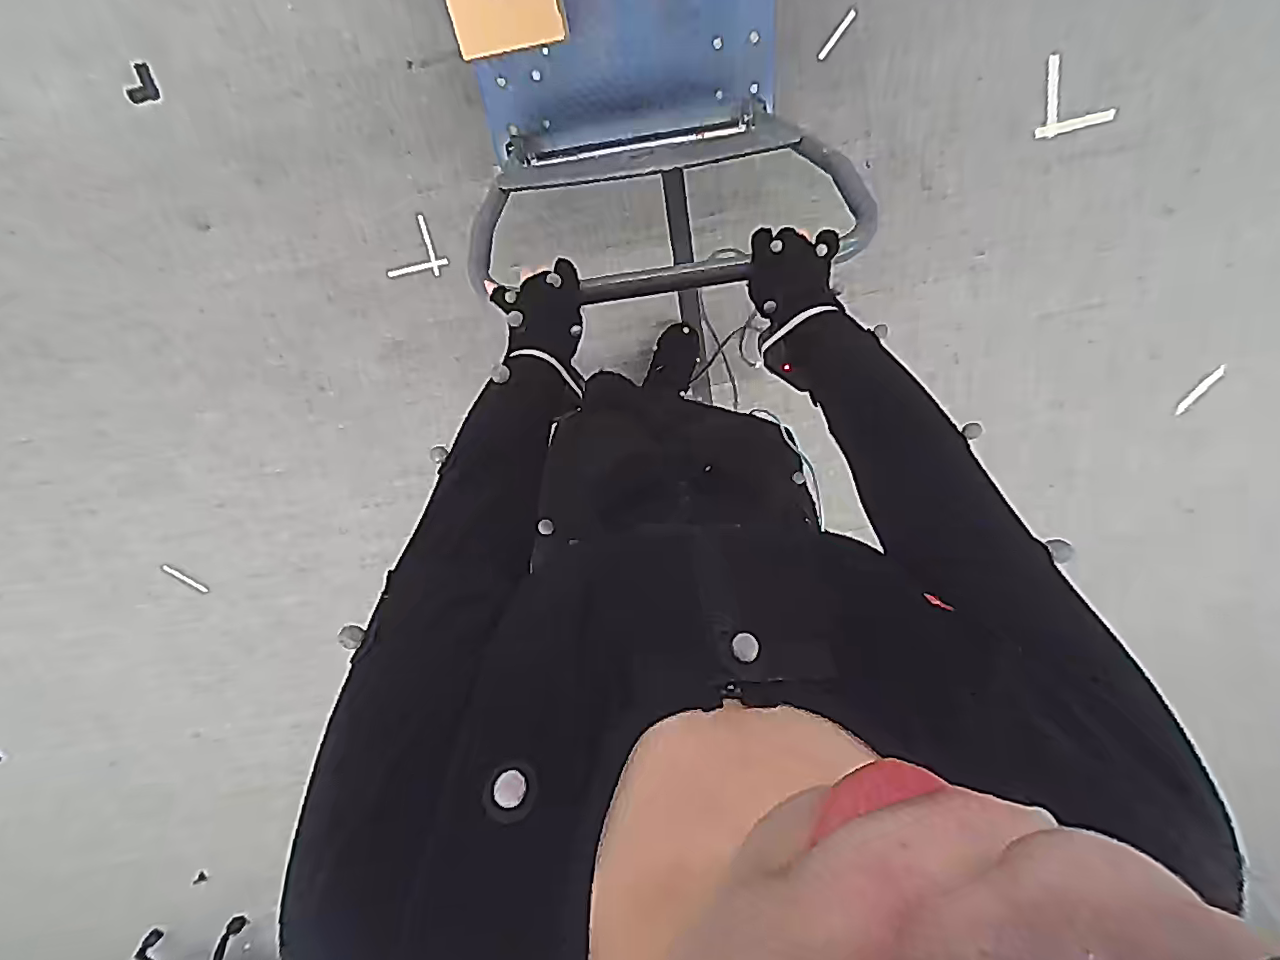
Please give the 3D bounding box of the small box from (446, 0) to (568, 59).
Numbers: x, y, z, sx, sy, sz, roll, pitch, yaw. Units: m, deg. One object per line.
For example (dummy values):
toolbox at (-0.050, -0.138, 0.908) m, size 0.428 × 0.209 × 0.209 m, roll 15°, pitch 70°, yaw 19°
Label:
small box at (-0.226, -0.822, 0.903) m, size 0.179 × 0.176 × 0.168 m, roll -11°, pitch 127°, yaw 3°
